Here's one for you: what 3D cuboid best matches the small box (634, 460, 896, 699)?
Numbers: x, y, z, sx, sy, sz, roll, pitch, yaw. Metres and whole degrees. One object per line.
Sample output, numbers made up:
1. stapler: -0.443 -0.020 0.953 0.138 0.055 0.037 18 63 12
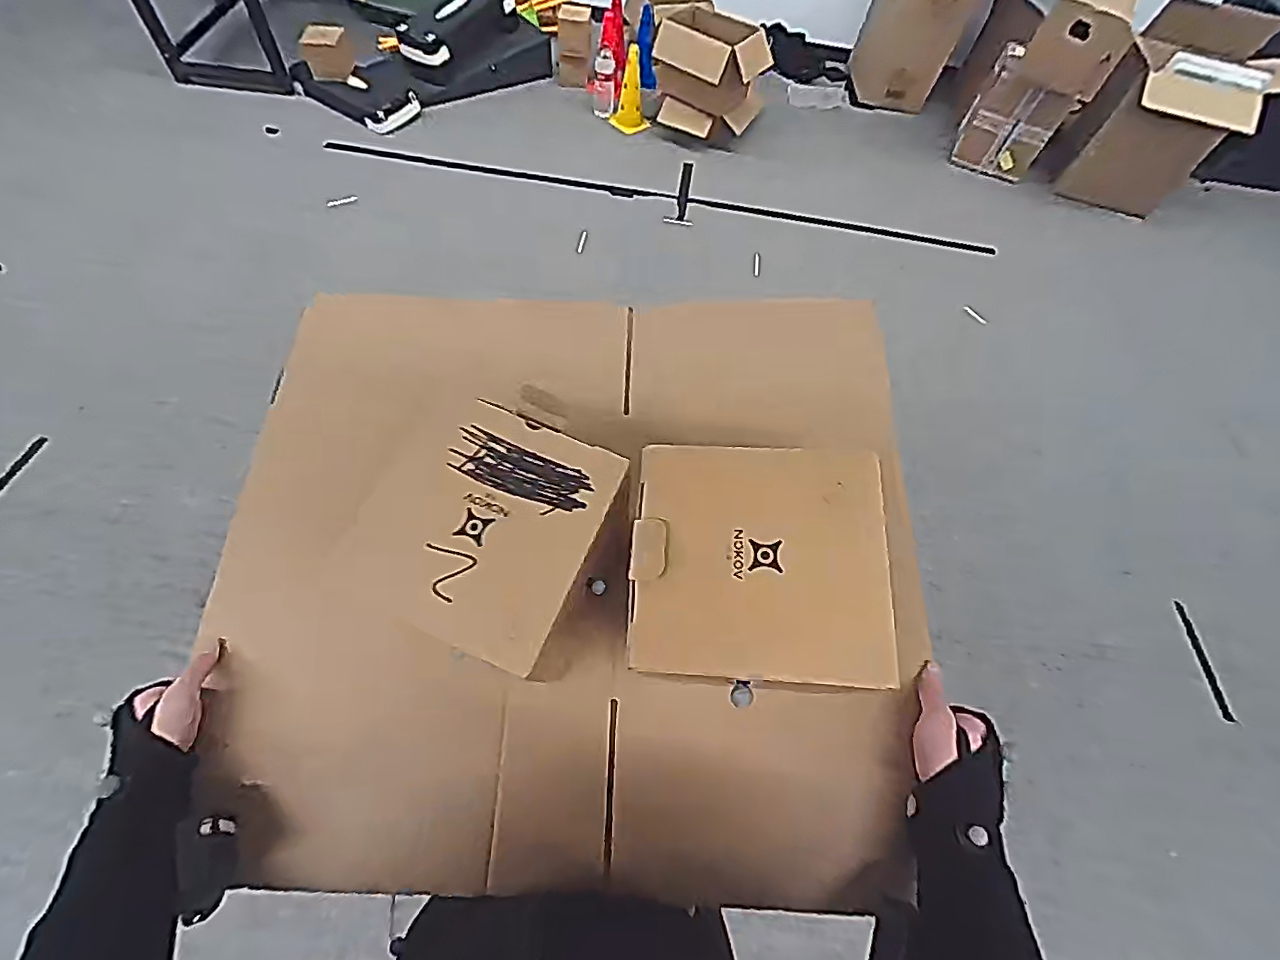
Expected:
1. small box: 0.095 0.092 0.463 0.179 0.176 0.168 1 69 7
